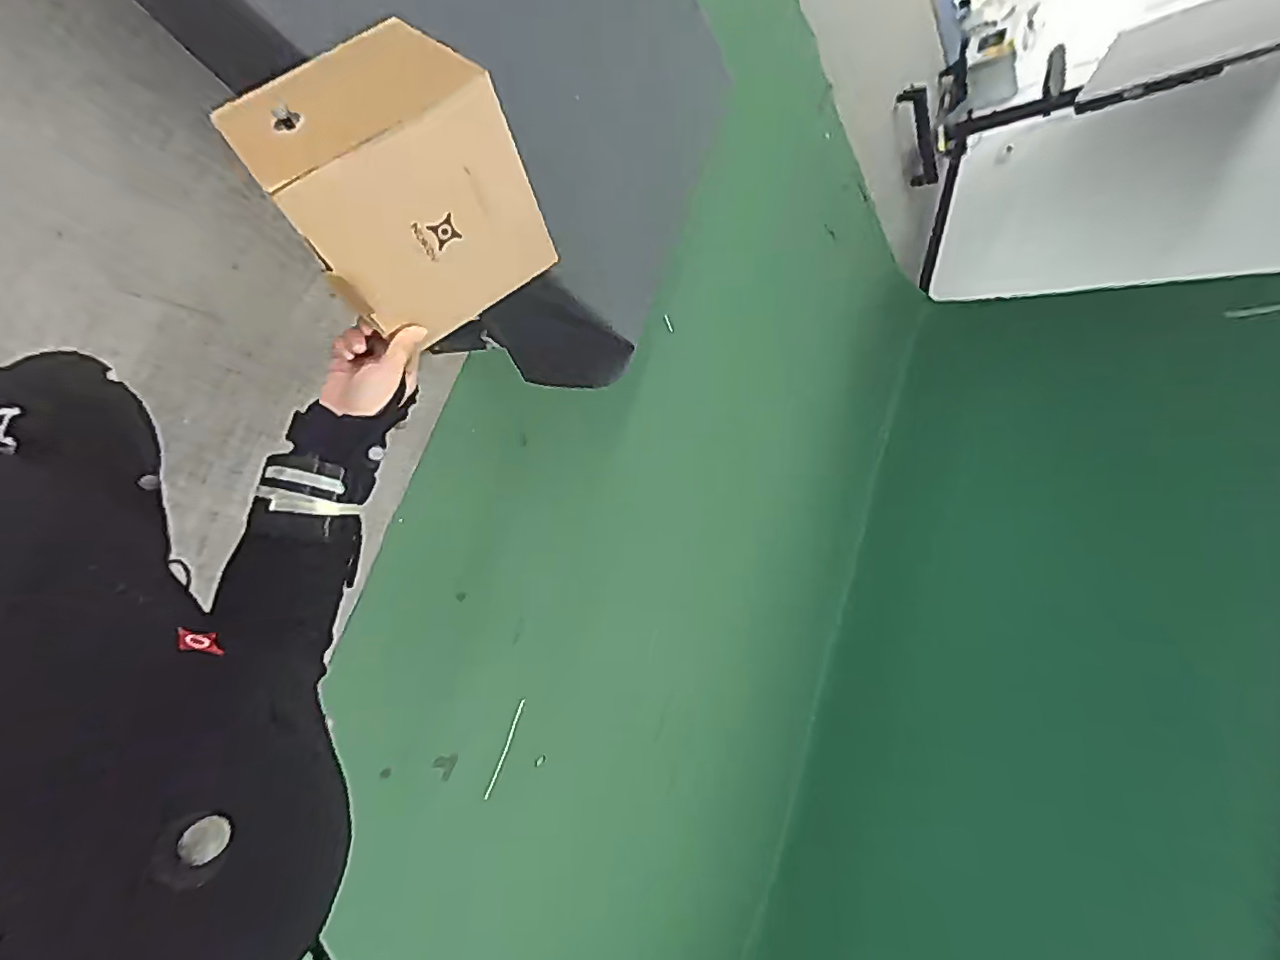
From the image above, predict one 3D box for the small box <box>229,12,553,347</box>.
[{"bbox_3d":[-0.212,-0.258,0.471,0.179,0.176,0.168,-39,152,-10],"label":"small box"}]
